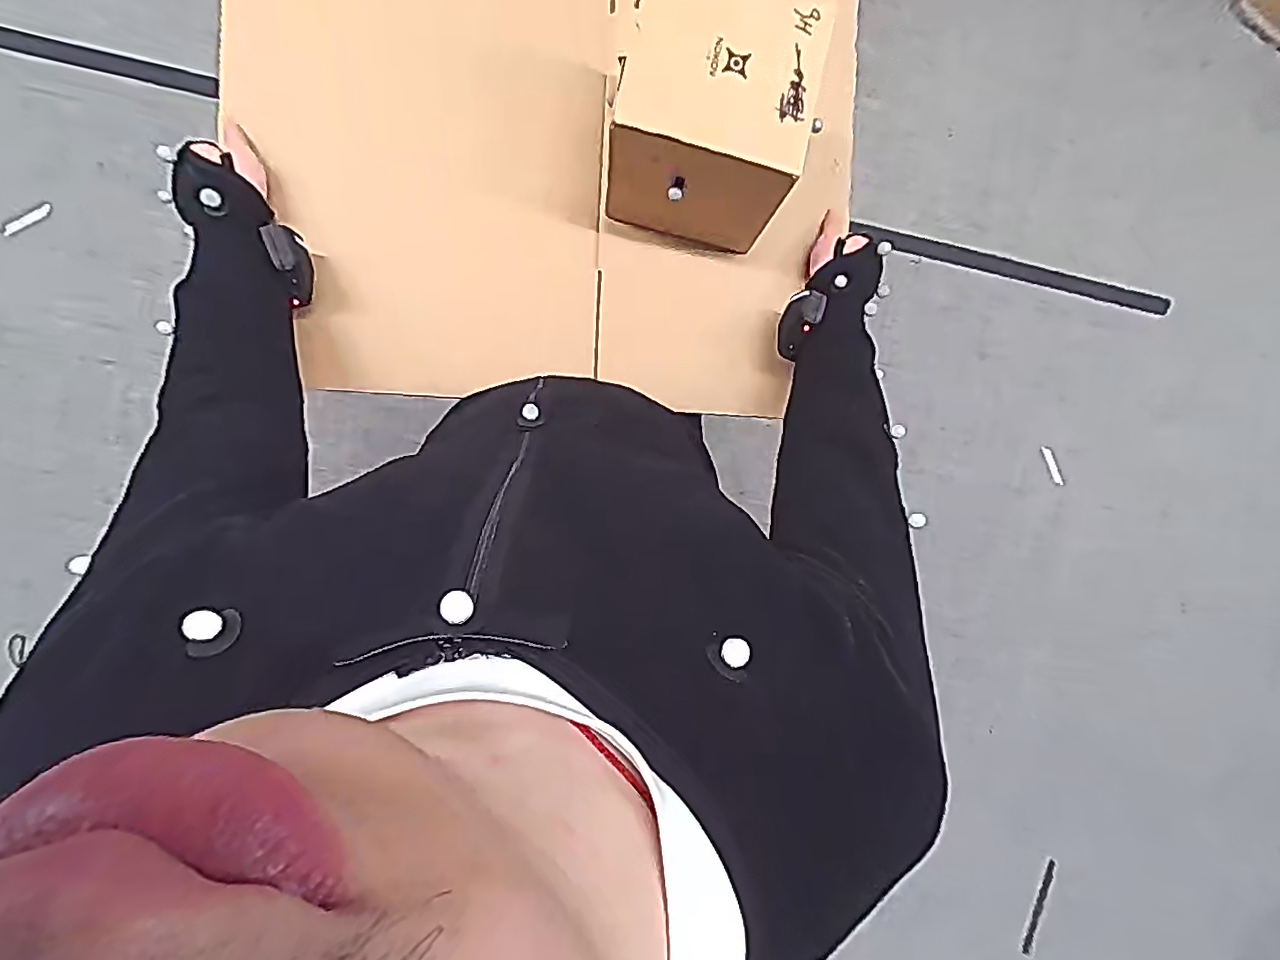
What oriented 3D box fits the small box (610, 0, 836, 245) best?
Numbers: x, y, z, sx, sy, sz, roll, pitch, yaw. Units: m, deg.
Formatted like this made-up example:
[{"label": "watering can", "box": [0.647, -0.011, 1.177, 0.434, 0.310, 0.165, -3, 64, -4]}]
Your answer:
[{"label": "small box", "box": [0.070, -0.370, 0.560, 0.179, 0.176, 0.168, 13, 90, -4]}]
